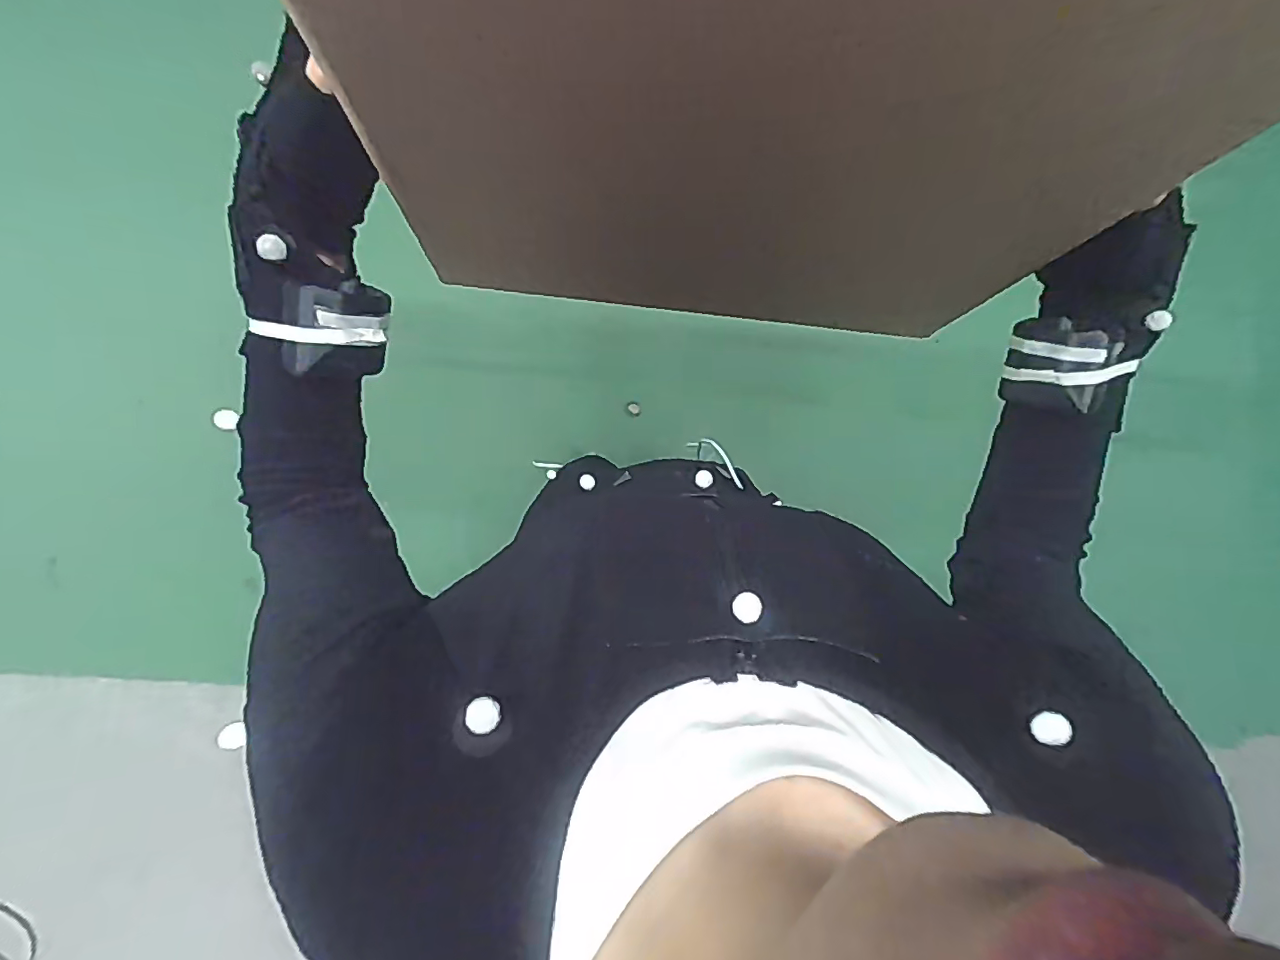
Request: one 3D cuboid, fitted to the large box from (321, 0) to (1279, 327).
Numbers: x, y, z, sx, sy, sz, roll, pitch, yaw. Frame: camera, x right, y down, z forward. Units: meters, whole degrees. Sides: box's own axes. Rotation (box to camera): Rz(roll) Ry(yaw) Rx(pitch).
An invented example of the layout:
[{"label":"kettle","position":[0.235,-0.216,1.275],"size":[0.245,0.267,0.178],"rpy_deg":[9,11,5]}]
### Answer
[{"label":"large box","position":[0.071,-0.310,0.311],"size":[0.408,0.320,0.320],"rpy_deg":[6,83,-6]}]
